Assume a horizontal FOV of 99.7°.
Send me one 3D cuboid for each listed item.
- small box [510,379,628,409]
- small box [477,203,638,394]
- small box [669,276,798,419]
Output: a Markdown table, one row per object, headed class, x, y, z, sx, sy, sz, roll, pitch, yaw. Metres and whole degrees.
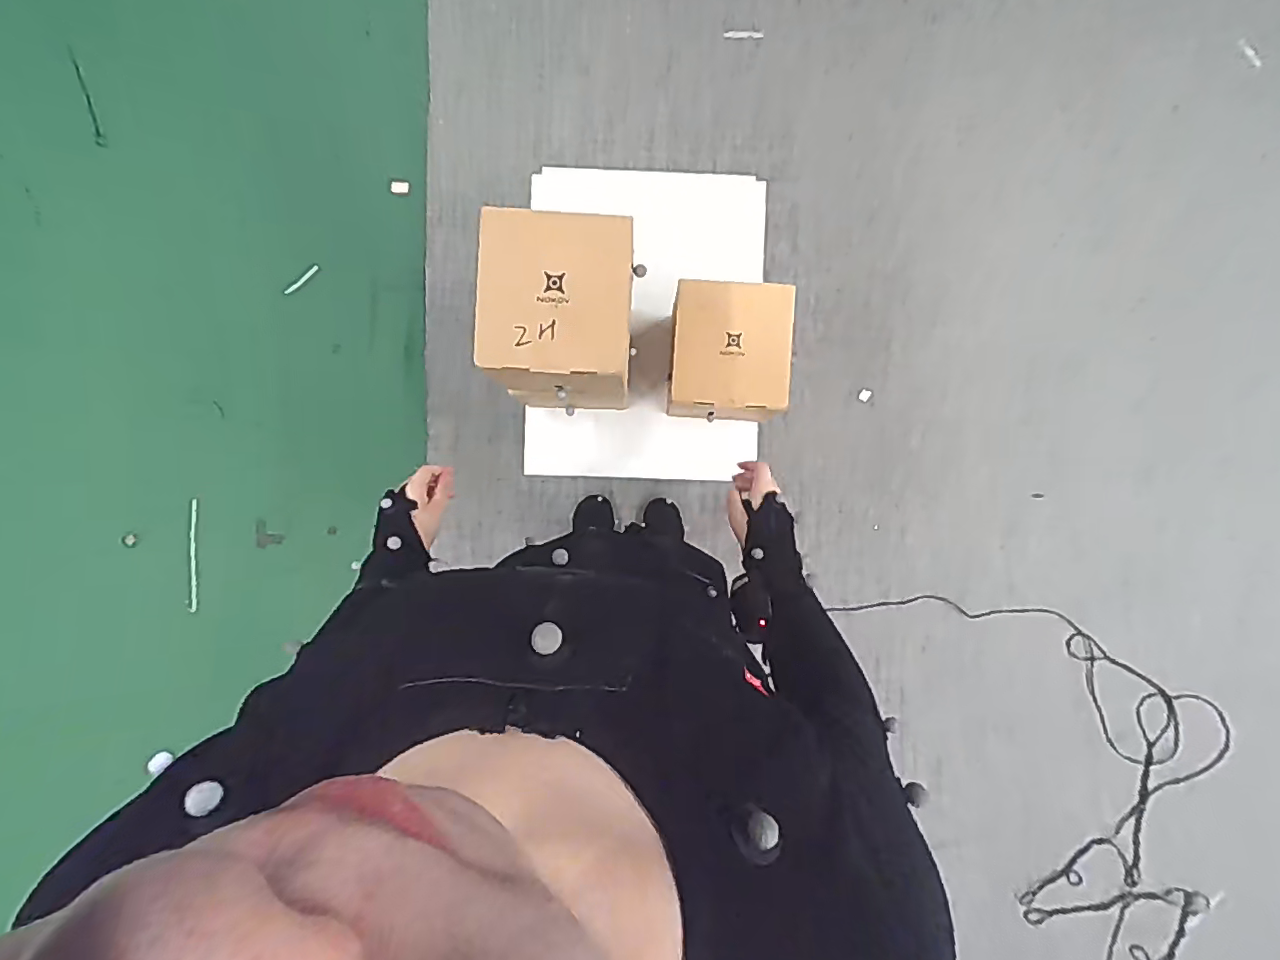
| class | x | y | z | sx | sy | sz | roll | pitch | yaw |
| --- | --- | --- | --- | --- | --- | --- | --- | --- | --- |
| small box | -0.098 | -0.209 | 0.830 | 0.168 | 0.176 | 0.179 | 2 | 92 | -1 |
| small box | -0.091 | -0.209 | 0.666 | 0.168 | 0.176 | 0.179 | 3 | 91 | 0 |
| small box | 0.134 | -0.194 | 0.832 | 0.168 | 0.176 | 0.179 | 4 | 92 | 1 |
